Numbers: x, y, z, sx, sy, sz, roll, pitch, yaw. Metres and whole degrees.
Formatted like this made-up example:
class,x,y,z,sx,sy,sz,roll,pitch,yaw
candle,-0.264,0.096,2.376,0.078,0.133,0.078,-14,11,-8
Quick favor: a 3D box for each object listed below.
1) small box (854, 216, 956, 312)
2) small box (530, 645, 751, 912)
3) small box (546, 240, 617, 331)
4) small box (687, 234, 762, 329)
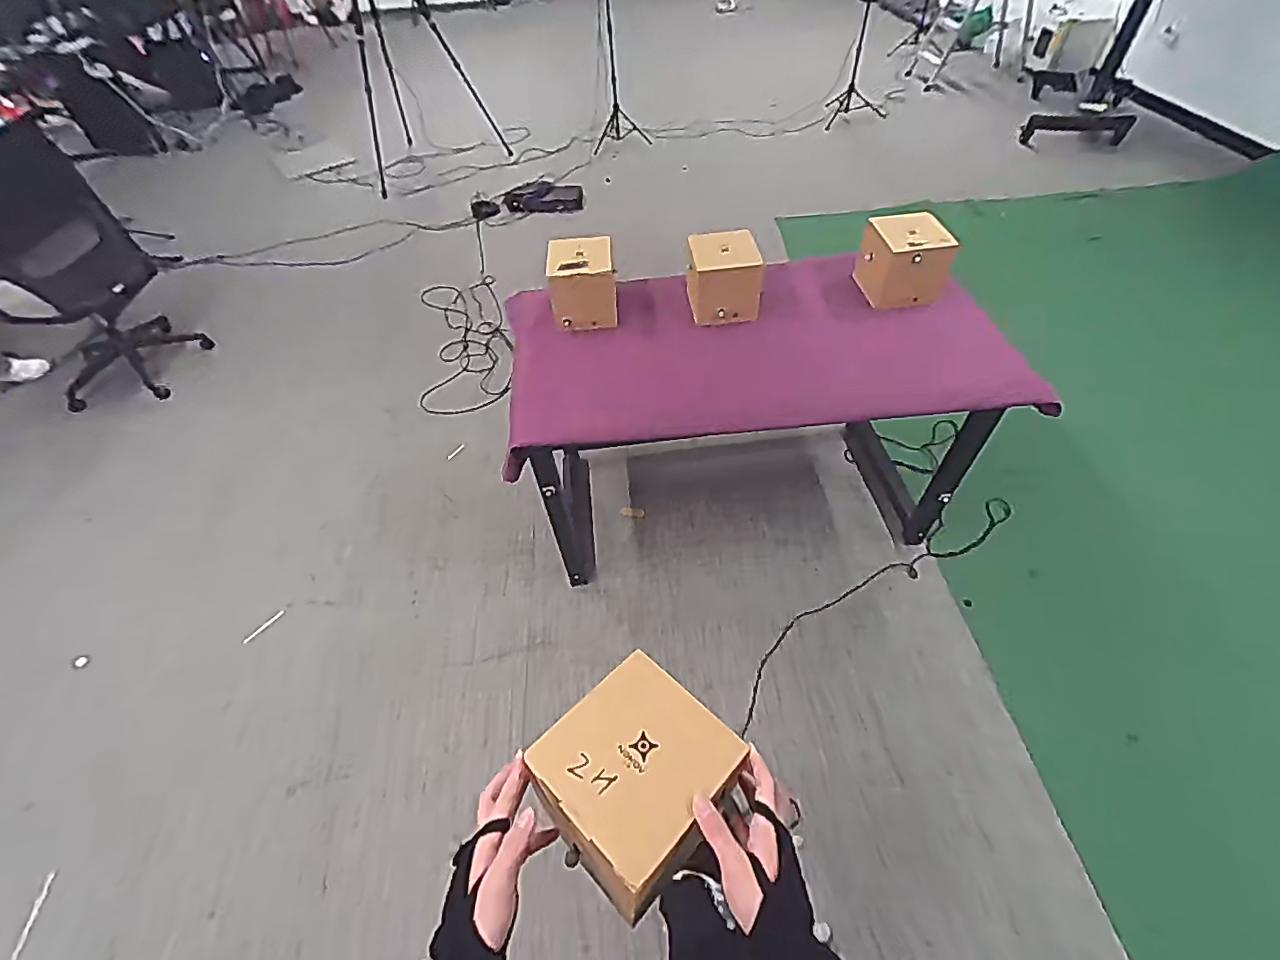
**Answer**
class,x,y,z,sx,sy,sz,roll,pitch,yaw
small box,0.687,-0.568,1.427,0.168,0.176,0.179,-8,50,0
small box,-0.002,0.334,0.614,0.168,0.176,0.179,34,51,31
small box,-0.151,-0.515,1.447,0.168,0.176,0.179,-4,52,0
small box,0.217,-0.524,1.432,0.168,0.176,0.179,-6,51,0
